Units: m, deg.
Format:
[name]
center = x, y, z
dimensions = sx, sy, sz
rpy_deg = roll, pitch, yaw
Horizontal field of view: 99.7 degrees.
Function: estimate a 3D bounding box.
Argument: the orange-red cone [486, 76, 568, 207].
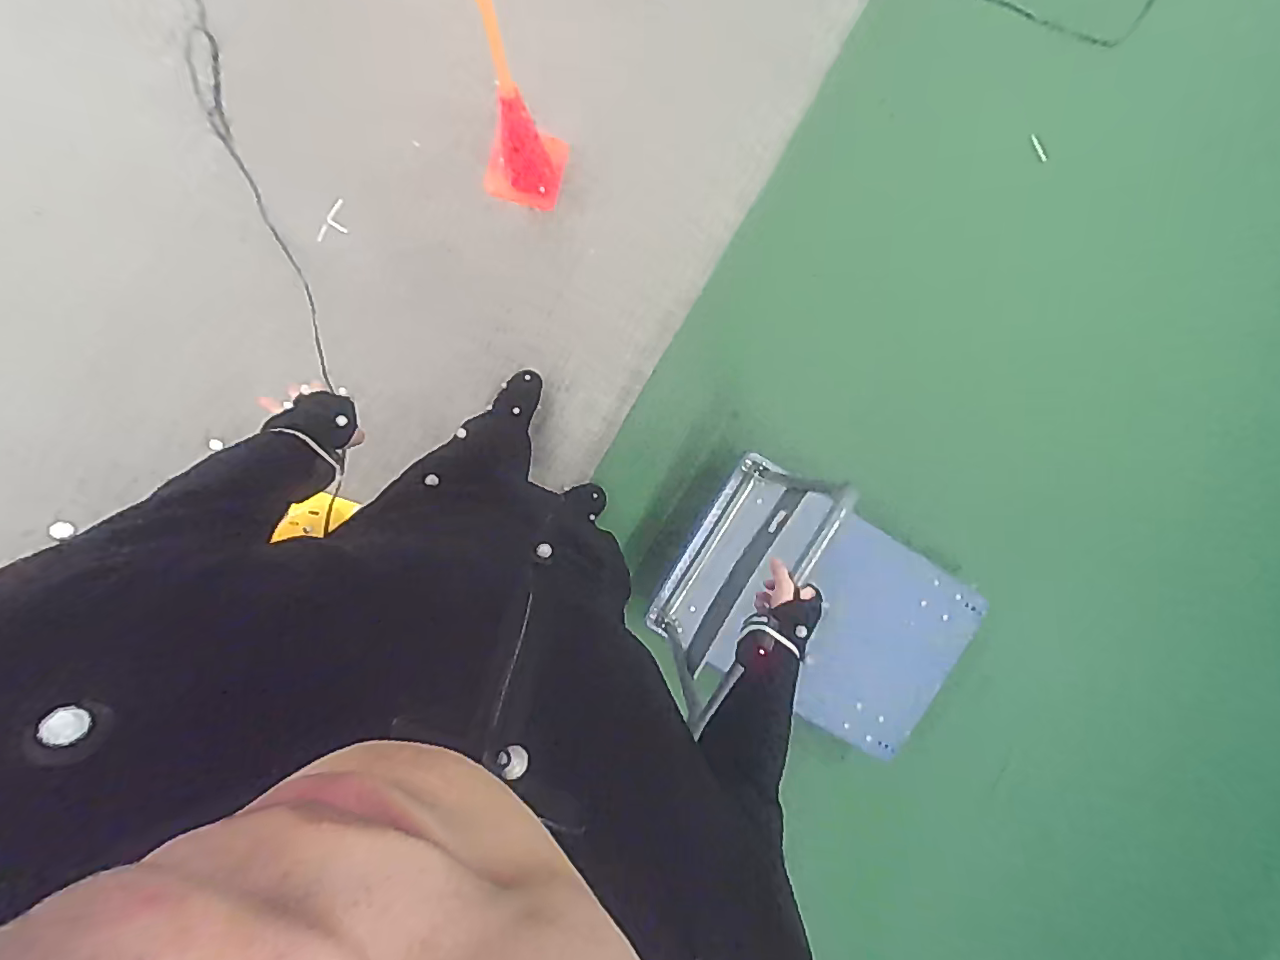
[orange-red cone]
center = -0.300, -0.879, 1.355
dimensions = 0.198, 0.360, 0.199
rpy_deg = 16, 92, -7
